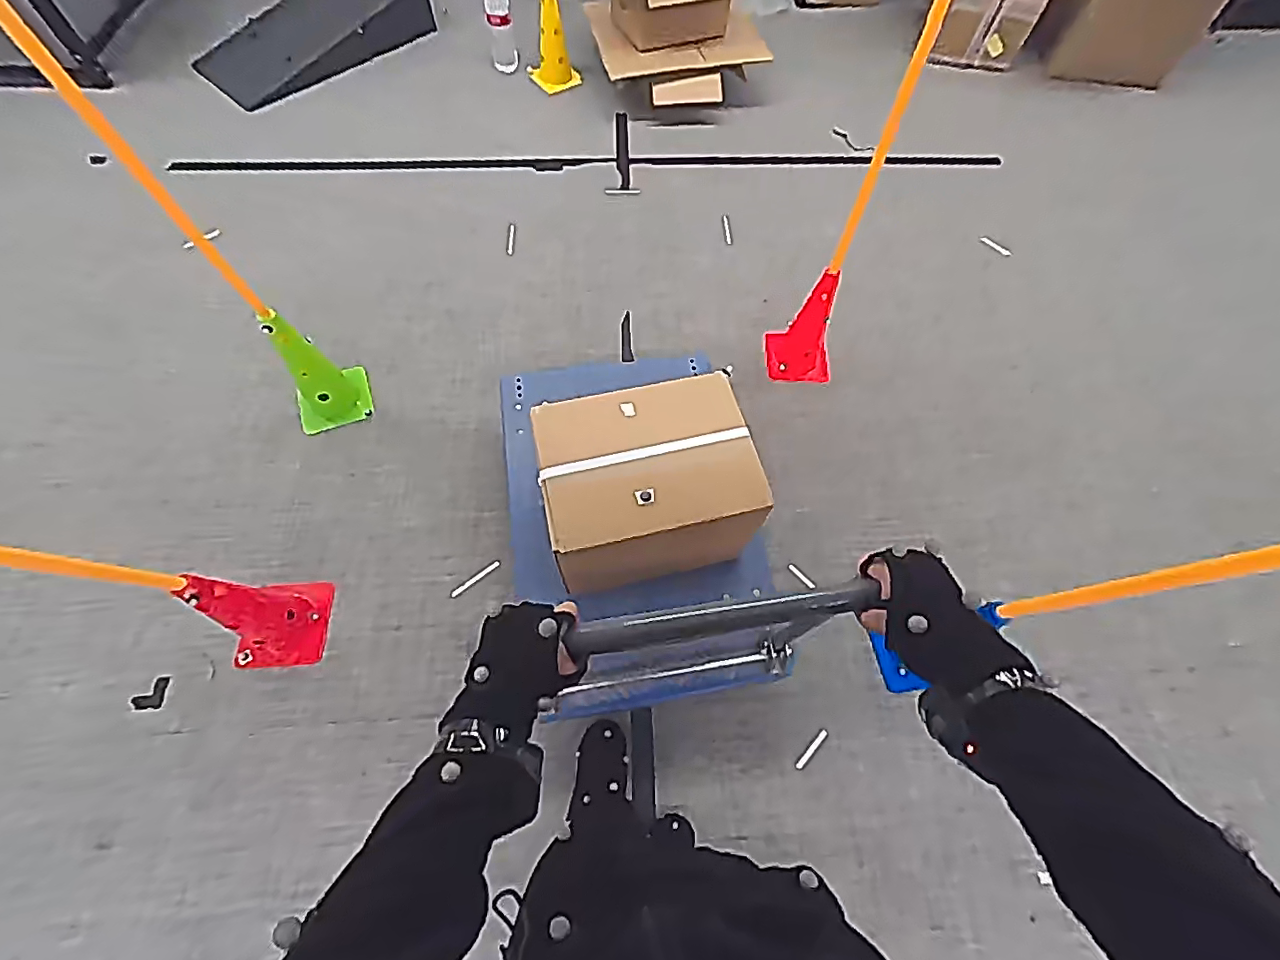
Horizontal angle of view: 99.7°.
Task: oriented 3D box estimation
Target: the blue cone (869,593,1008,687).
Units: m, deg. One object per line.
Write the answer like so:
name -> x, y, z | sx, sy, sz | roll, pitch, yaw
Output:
blue cone -> 0.689, 0.332, 1.201 | 0.193, 0.380, 0.192 | -5, 62, -5

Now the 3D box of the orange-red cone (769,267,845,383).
orange-red cone -> 0.522, -0.475, 1.590 | 0.199, 0.360, 0.198 | 5, 64, -1
